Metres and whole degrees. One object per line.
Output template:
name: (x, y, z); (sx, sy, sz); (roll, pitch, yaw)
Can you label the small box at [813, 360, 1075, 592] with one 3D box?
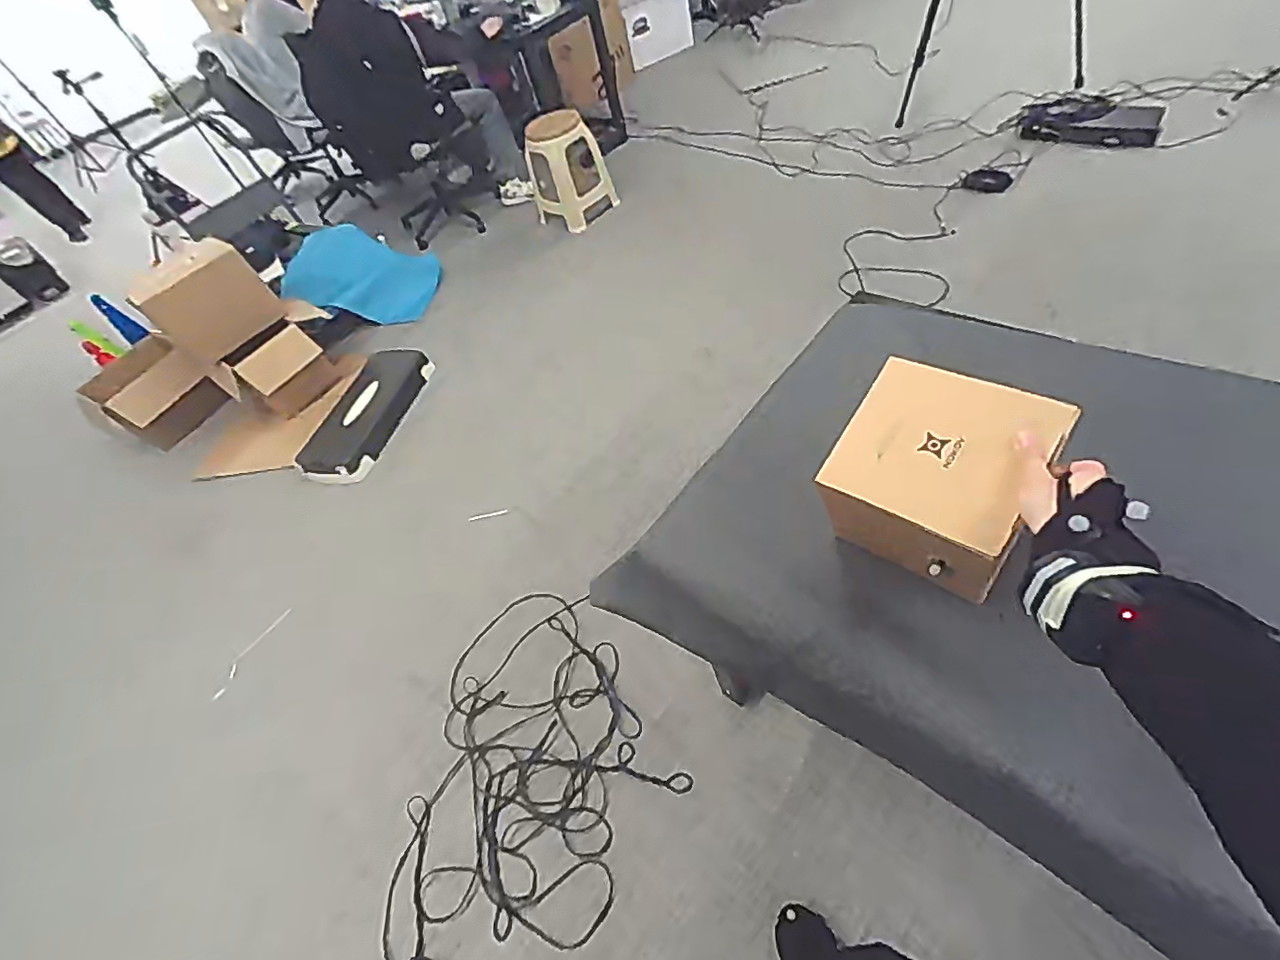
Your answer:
small box: (0.317, 0.004, 0.587); (0.179, 0.176, 0.168); (28, 78, 35)
